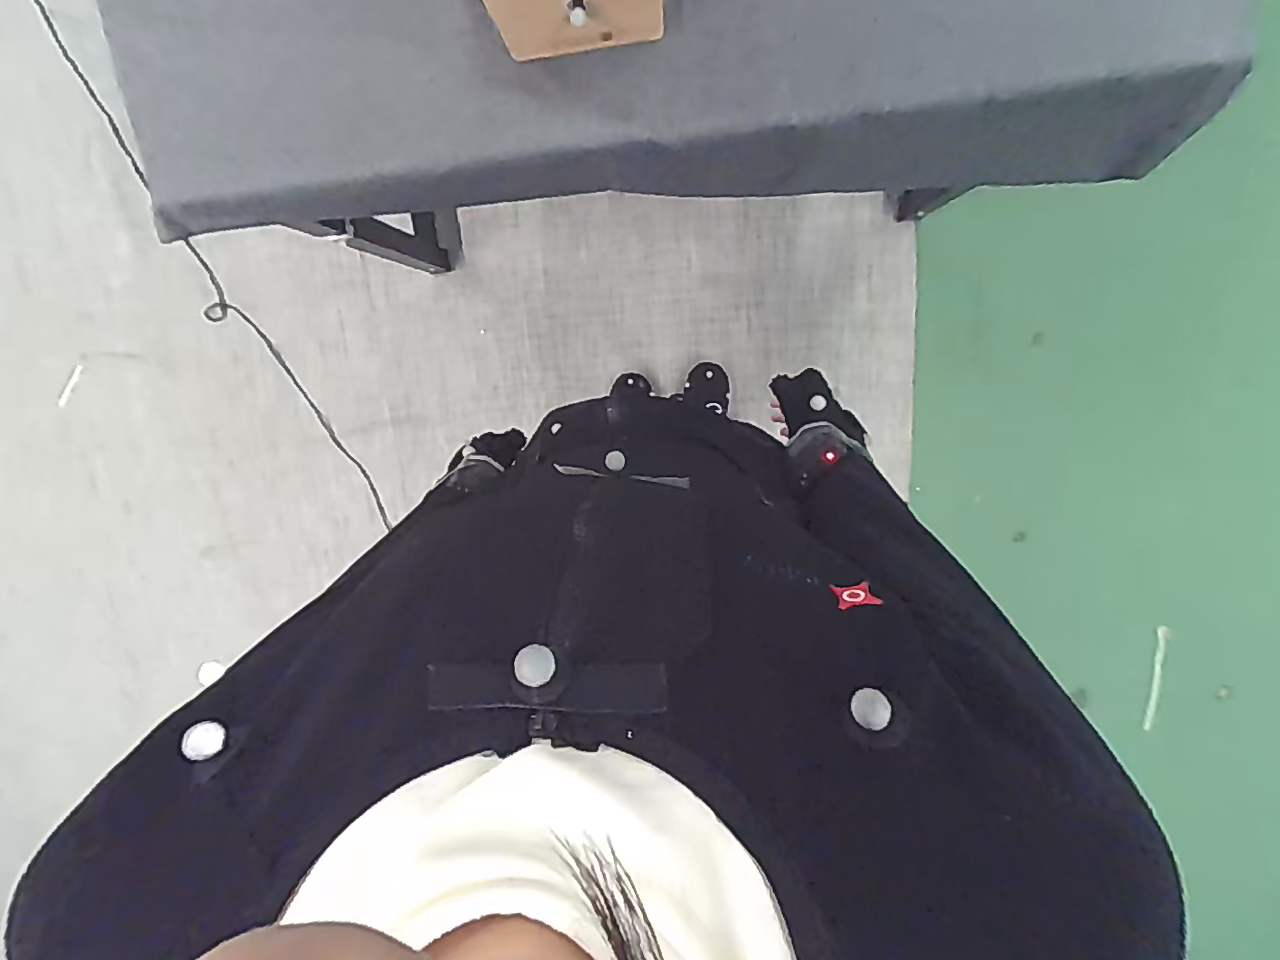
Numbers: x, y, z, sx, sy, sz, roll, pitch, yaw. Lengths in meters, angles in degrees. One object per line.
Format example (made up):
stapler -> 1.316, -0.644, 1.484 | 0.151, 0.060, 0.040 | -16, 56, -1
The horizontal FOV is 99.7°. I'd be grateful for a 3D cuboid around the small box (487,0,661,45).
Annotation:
small box -> -0.071, -0.533, 0.486 | 0.168, 0.176, 0.179 | -6, 104, 4
